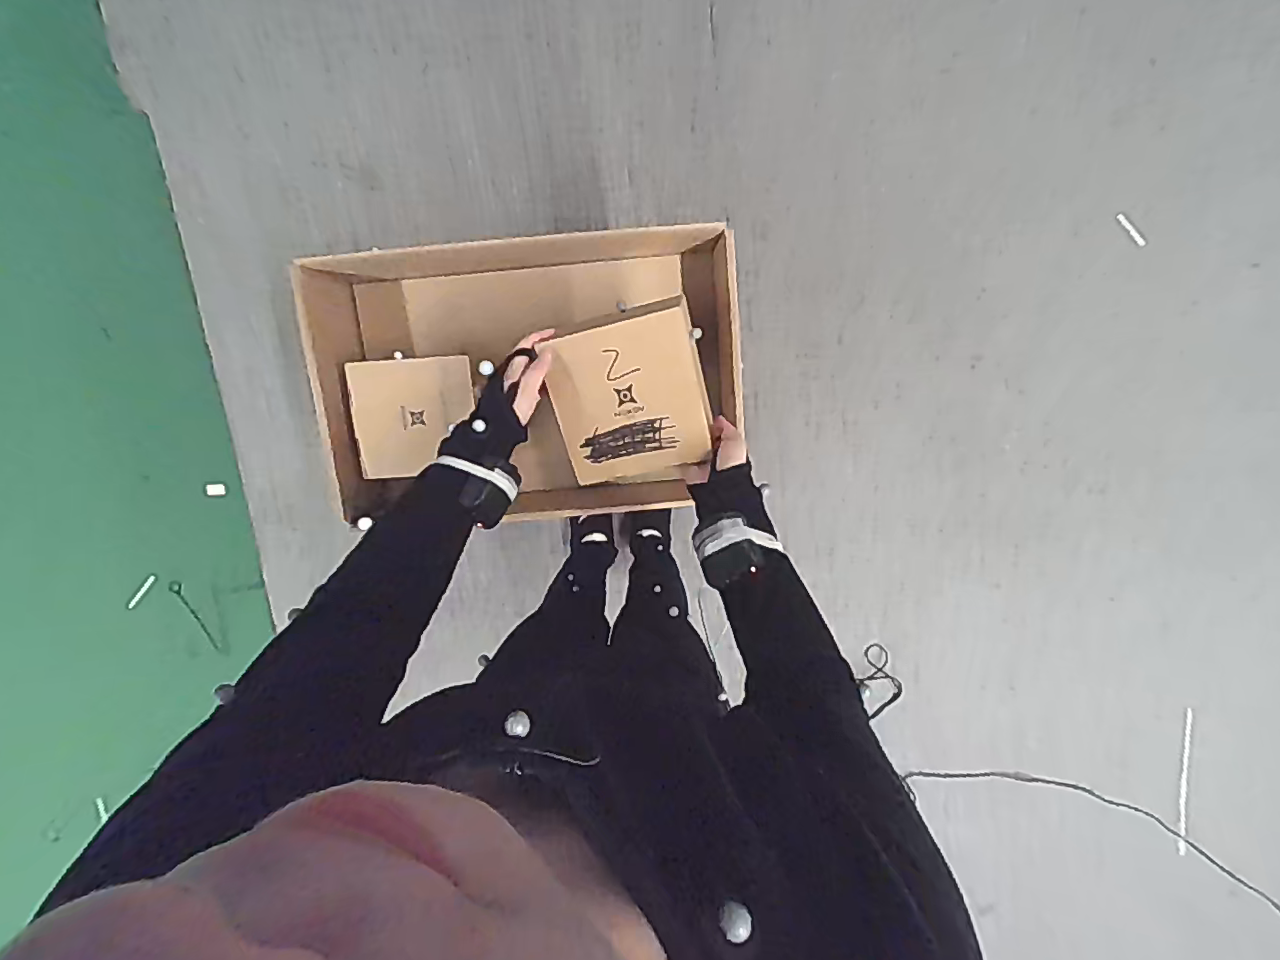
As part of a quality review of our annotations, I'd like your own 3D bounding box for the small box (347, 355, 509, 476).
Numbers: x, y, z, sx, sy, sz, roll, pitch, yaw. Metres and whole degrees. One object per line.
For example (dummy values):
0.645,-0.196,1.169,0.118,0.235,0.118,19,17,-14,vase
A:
-0.314,-0.101,0.833,0.179,0.176,0.168,-3,101,0,small box
